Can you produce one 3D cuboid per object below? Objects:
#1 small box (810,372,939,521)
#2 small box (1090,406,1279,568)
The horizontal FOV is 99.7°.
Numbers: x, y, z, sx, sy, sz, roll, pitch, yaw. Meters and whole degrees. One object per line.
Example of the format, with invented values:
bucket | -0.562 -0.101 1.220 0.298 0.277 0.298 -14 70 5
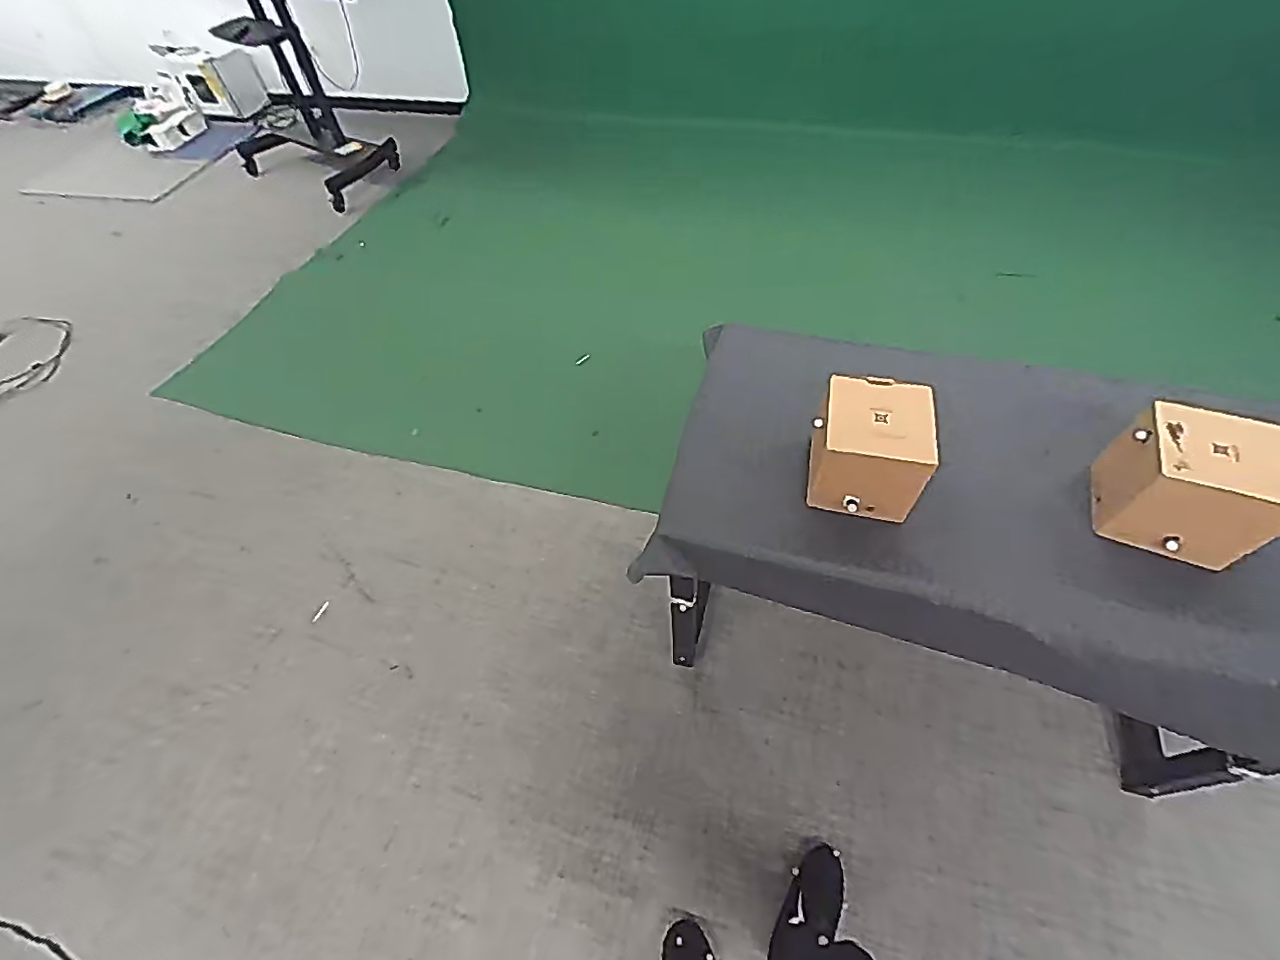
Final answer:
small box | 0.394 -0.057 0.926 0.168 0.176 0.179 10 55 14
small box | 0.867 0.017 0.859 0.179 0.176 0.168 20 57 17
